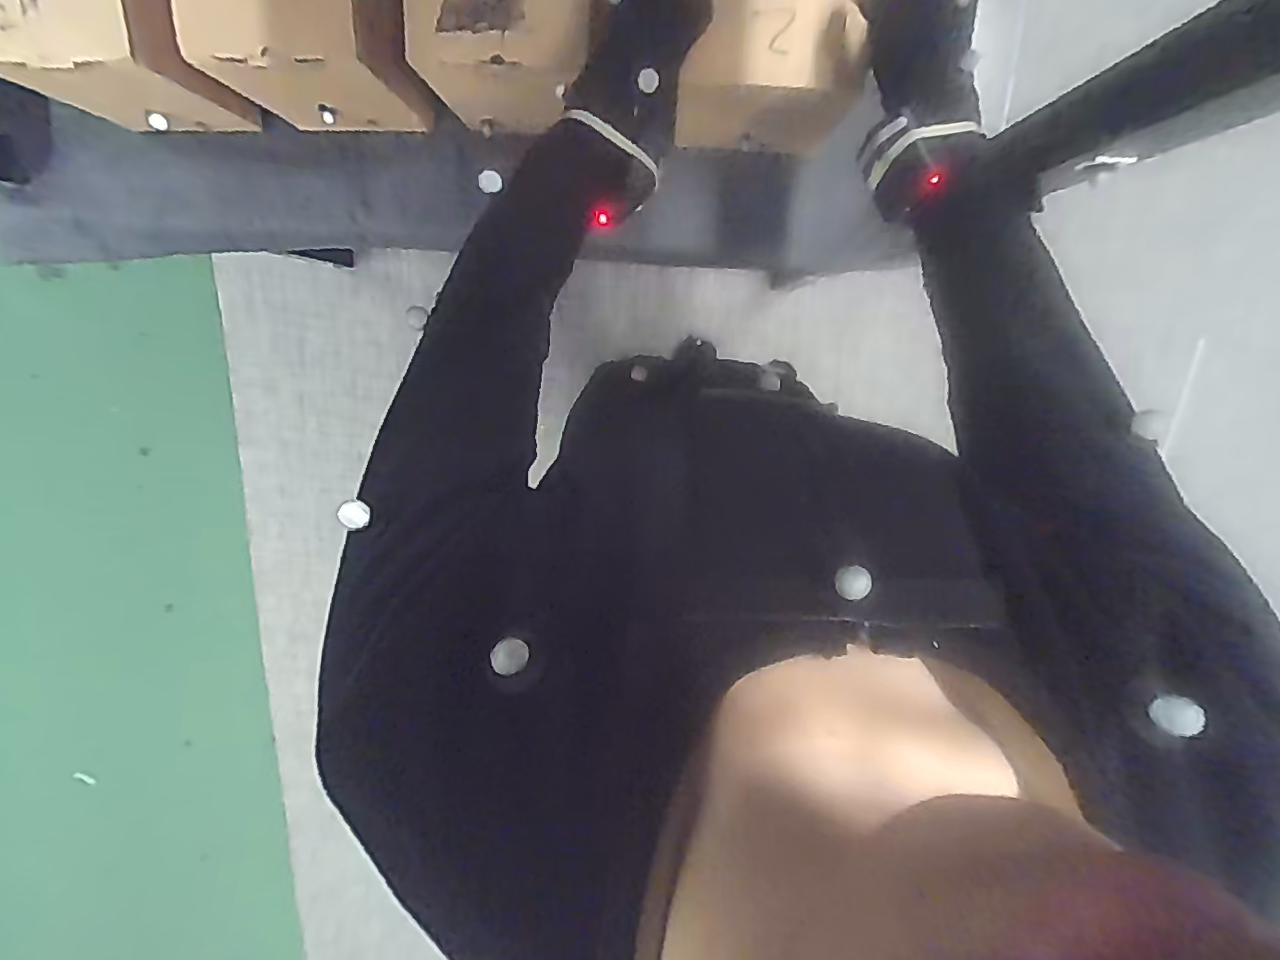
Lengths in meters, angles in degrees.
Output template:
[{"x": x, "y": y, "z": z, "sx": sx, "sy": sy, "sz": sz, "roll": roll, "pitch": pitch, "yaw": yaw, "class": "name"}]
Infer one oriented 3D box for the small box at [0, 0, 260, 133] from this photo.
[{"x": -0.533, "y": -0.486, "z": 0.552, "sx": 0.168, "sy": 0.176, "sz": 0.179, "roll": 1, "pitch": 104, "yaw": 2, "class": "small box"}]
